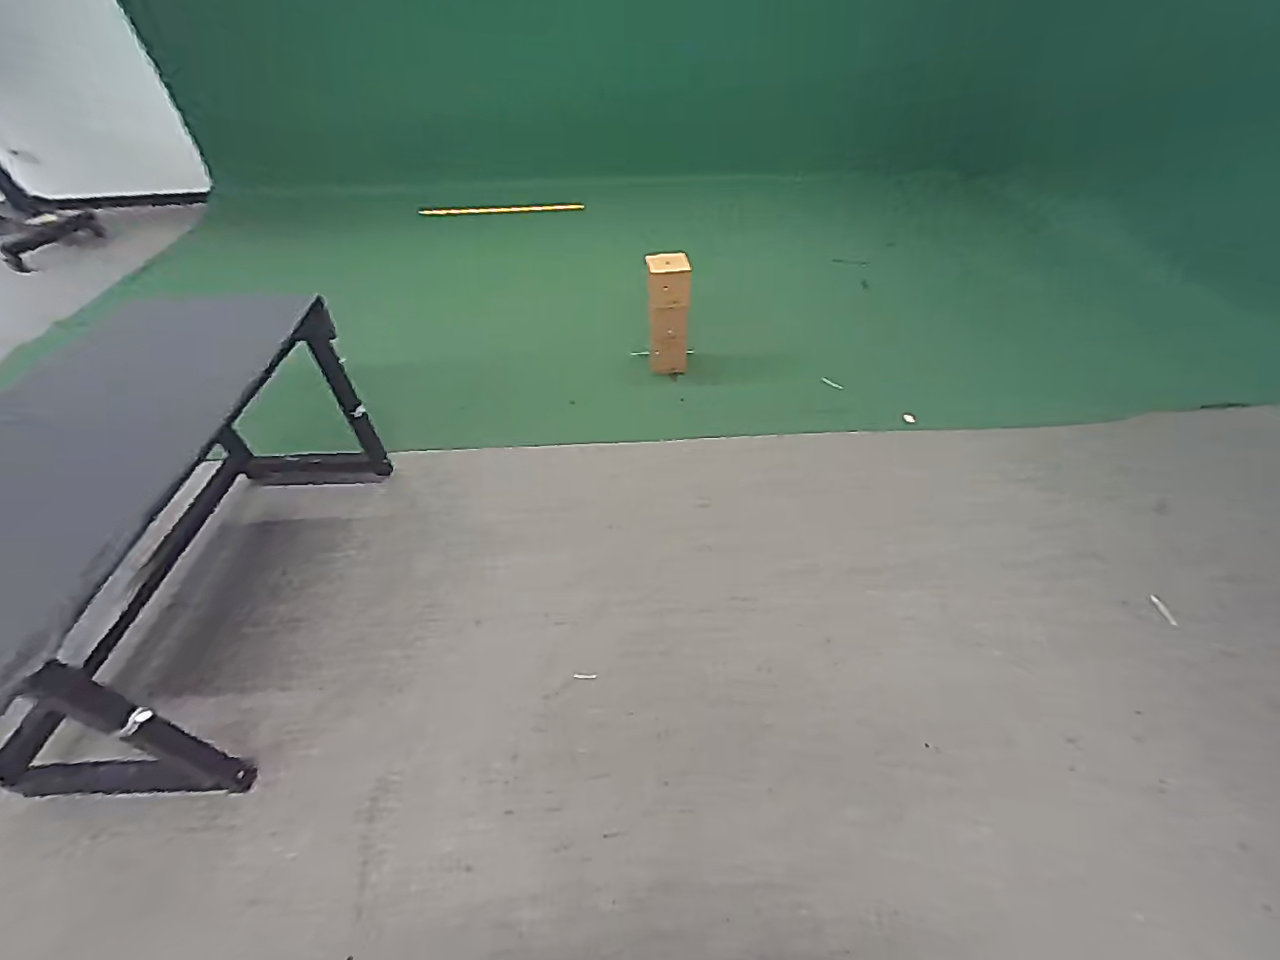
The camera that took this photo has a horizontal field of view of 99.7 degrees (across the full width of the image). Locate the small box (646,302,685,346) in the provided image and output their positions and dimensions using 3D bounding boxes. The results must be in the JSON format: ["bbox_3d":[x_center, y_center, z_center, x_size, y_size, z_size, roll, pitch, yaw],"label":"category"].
[{"bbox_3d":[0.113,-0.735,2.476,0.168,0.176,0.179,-5,45,-2],"label":"small box"}]

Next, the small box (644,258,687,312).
[{"bbox_3d":[0.111,-0.847,2.359,0.168,0.176,0.179,-6,45,-4],"label":"small box"}]
